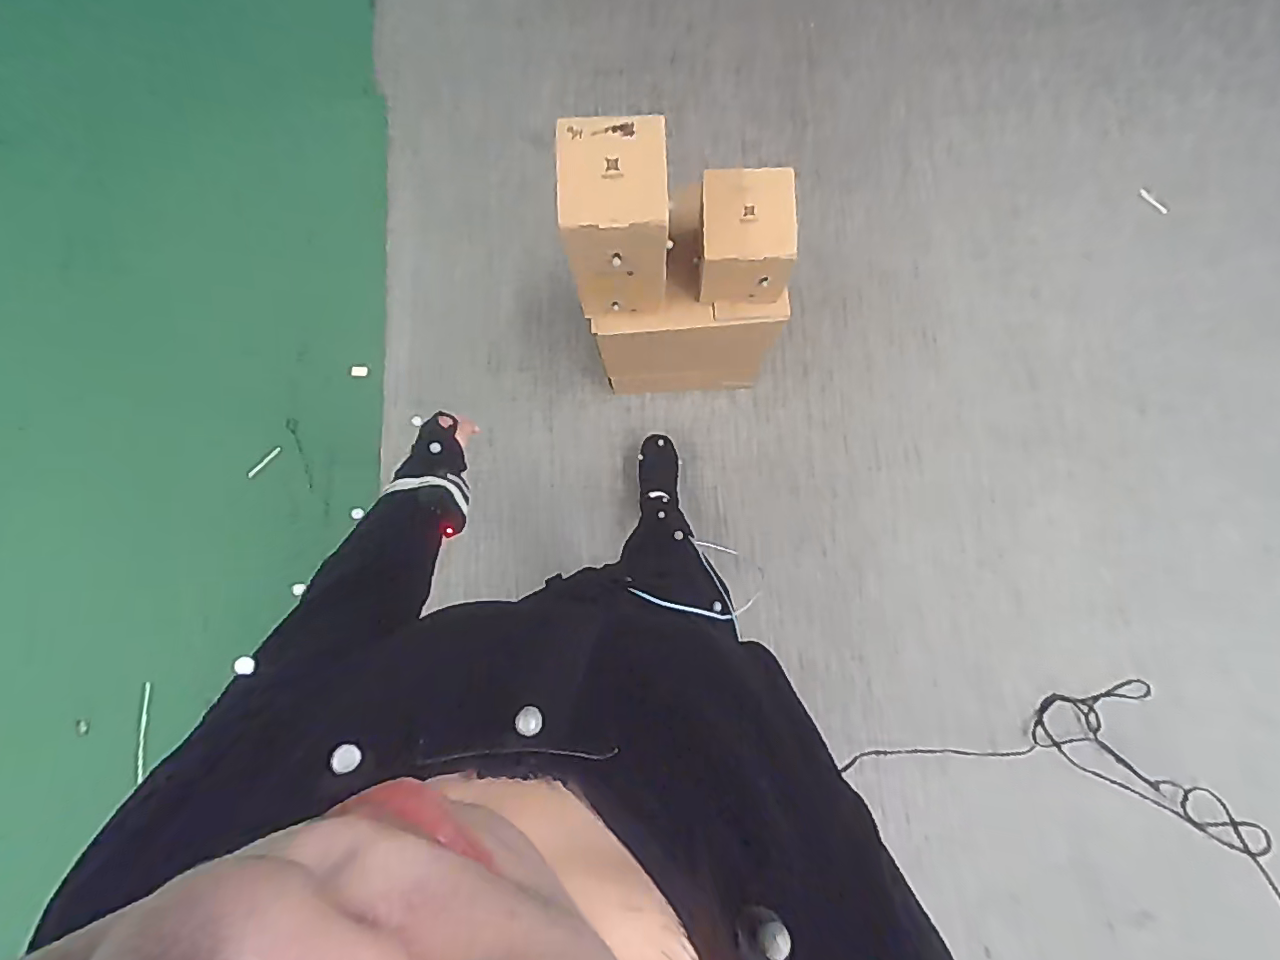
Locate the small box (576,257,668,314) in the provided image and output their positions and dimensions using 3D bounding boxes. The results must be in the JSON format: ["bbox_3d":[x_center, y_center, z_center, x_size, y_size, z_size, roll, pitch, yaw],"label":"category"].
[{"bbox_3d":[-0.035,-0.437,1.040,0.168,0.176,0.179,-2,85,0],"label":"small box"}]

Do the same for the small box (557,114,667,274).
[{"bbox_3d":[-0.039,-0.449,0.877,0.168,0.176,0.179,-1,85,0],"label":"small box"}]

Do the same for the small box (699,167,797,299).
[{"bbox_3d":[0.201,-0.461,1.033,0.168,0.176,0.179,1,82,3],"label":"small box"}]
